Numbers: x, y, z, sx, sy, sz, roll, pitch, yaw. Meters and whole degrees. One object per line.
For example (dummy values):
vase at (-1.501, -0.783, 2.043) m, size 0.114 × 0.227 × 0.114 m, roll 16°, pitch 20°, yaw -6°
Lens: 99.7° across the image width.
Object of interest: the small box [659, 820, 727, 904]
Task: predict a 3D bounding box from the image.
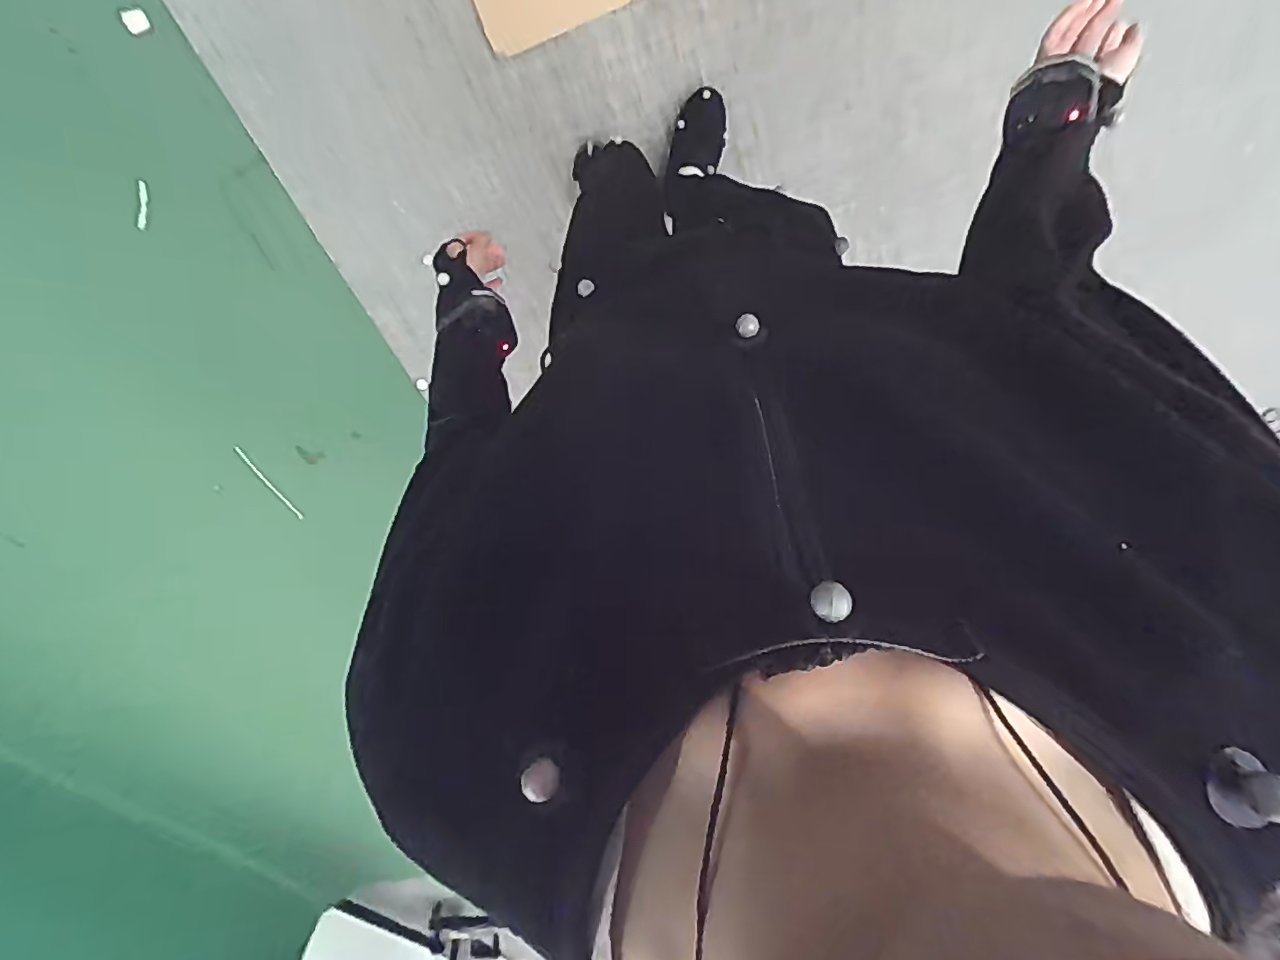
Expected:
small box at (0.156, 1.147, 1.633) m, size 0.168 × 0.176 × 0.179 m, roll -13°, pitch 128°, yaw 9°
